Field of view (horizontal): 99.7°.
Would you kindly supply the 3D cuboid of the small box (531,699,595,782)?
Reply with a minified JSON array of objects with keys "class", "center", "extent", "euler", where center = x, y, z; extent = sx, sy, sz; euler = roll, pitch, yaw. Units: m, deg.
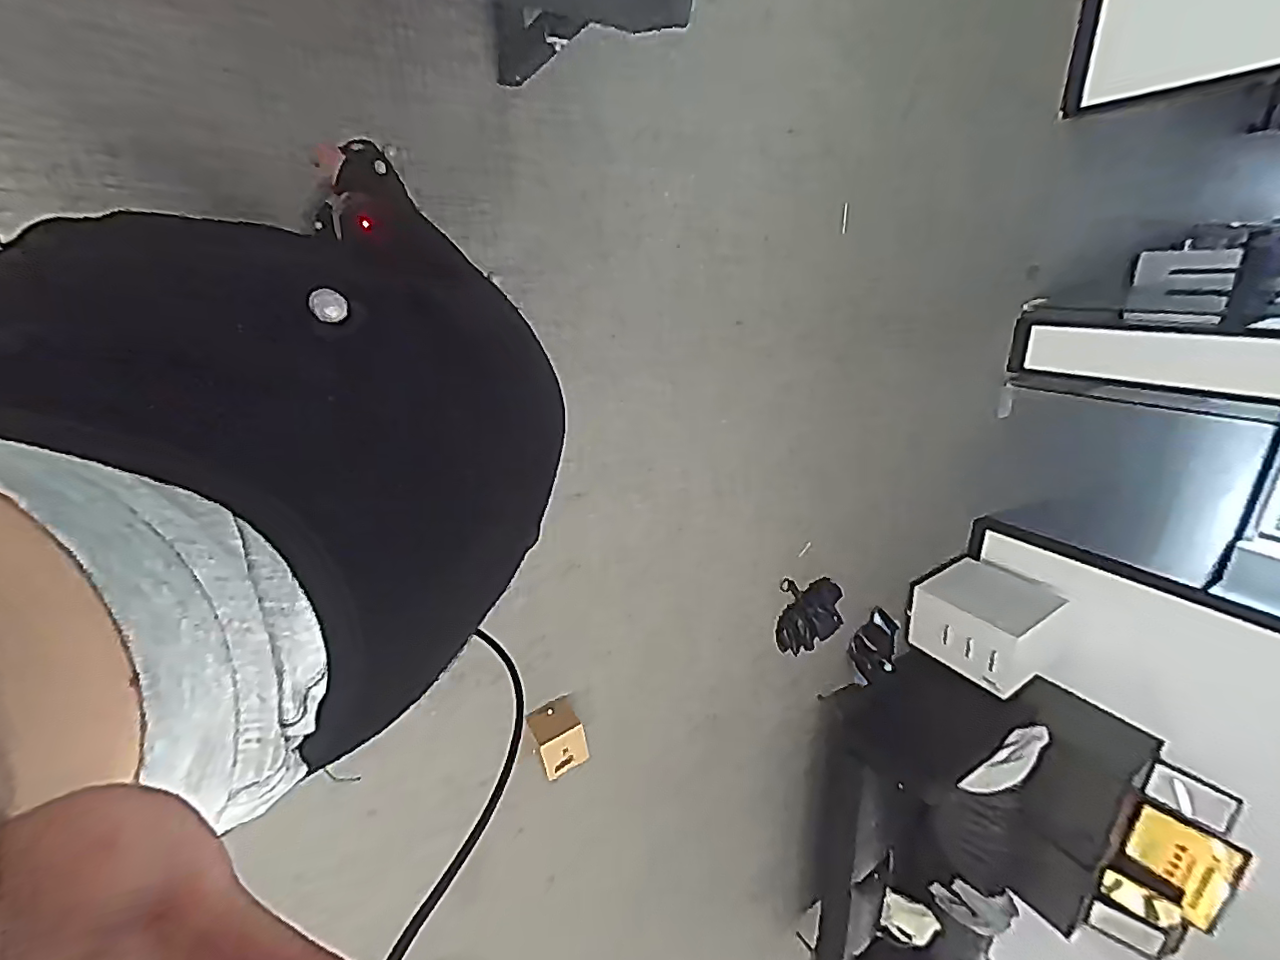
[{"class":"small box","center":[-0.284,0.949,1.981],"extent":[0.168,0.176,0.179],"euler":[-21,116,-26]}]
